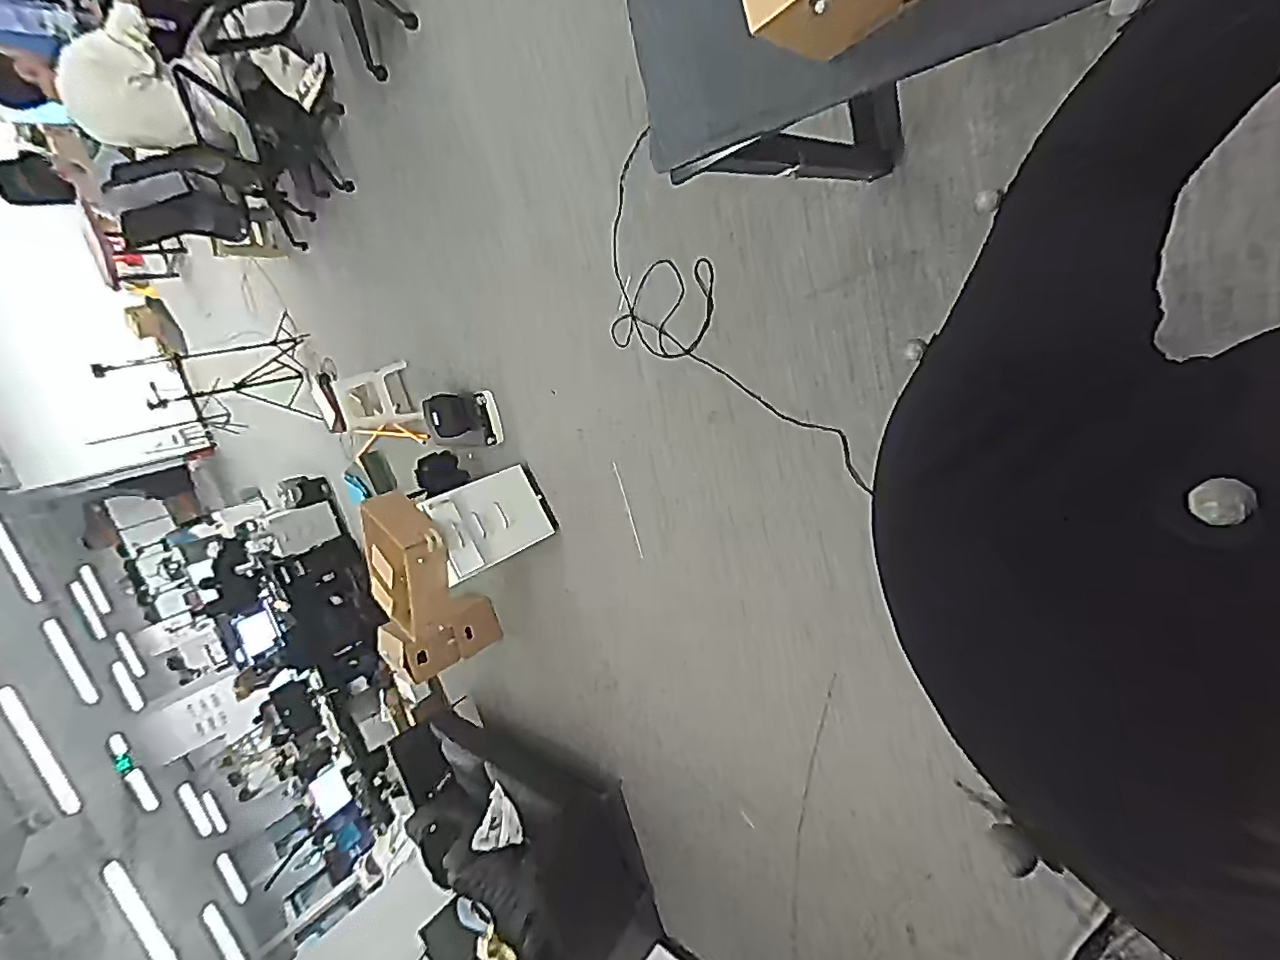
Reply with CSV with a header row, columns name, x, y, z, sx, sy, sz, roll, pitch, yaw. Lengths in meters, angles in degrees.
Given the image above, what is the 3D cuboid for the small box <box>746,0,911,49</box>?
name,x,y,z,sx,sy,sz,roll,pitch,yaw
small box,0.198,-0.562,0.514,0.168,0.176,0.179,-3,108,47
